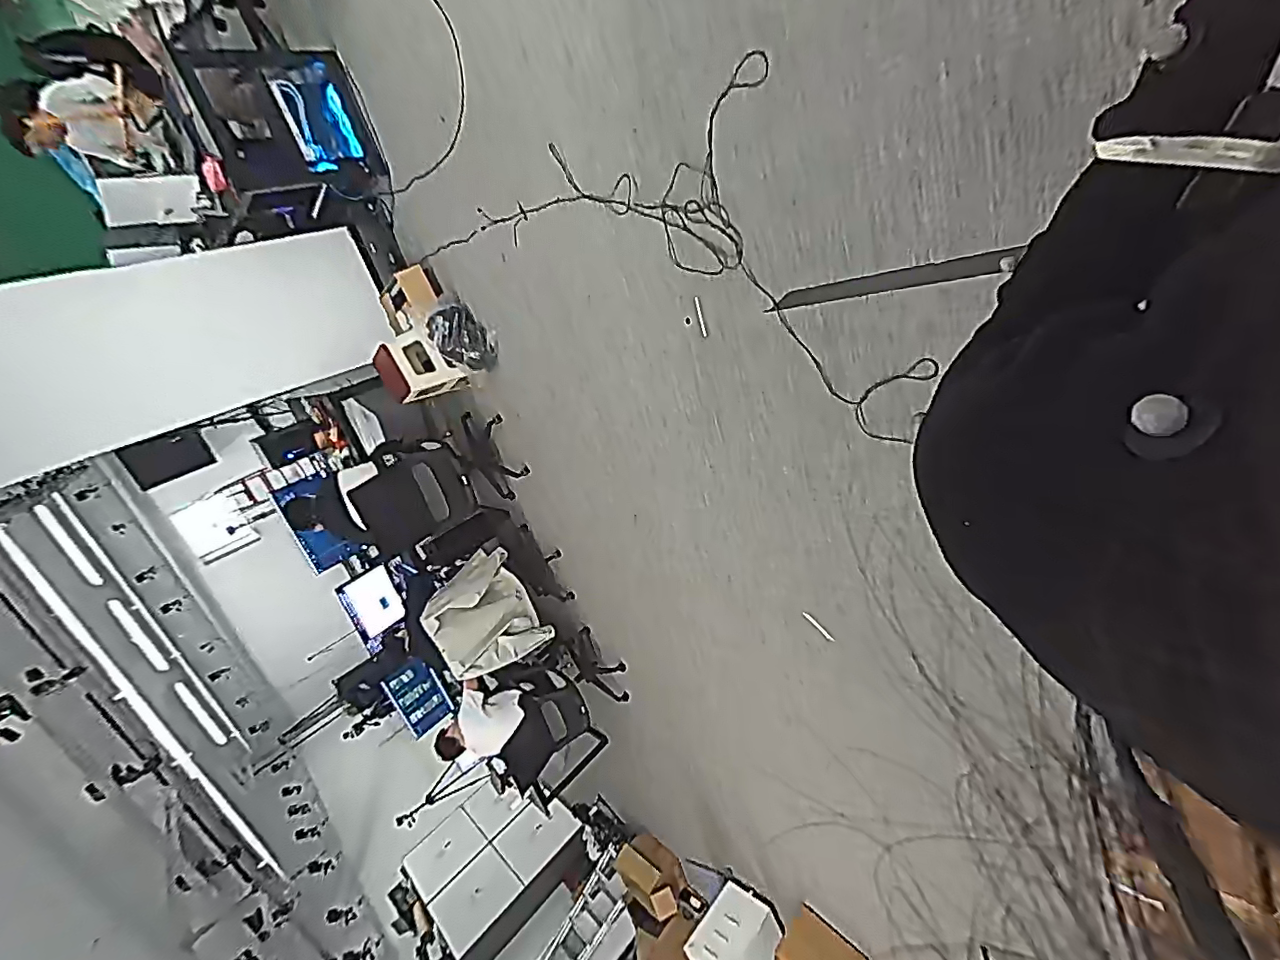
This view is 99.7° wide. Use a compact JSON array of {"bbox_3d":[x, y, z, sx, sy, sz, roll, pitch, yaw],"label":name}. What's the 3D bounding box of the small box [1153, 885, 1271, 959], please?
[{"bbox_3d":[1.313,1.096,1.245,0.179,0.176,0.168,7,121,49],"label":"small box"}]
